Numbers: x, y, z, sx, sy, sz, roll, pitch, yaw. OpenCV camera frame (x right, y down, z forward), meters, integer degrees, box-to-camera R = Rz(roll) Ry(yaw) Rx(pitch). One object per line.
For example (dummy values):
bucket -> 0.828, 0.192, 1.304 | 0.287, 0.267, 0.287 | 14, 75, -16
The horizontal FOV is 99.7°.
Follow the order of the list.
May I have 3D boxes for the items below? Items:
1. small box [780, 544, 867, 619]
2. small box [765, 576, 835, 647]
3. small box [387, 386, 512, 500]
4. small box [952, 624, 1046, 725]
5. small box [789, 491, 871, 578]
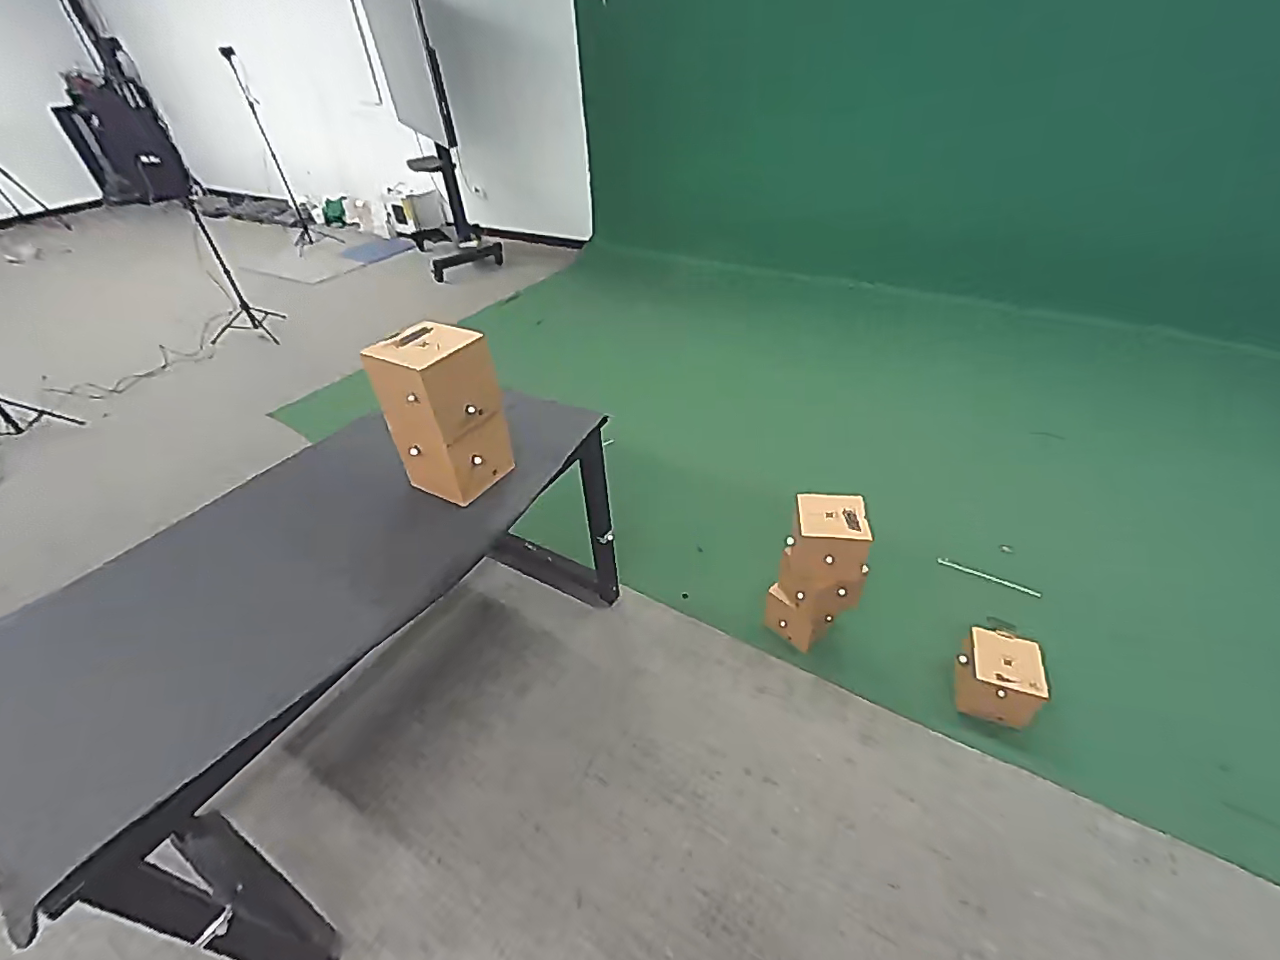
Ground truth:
small box -> 0.526, 0.278, 1.581 | 0.179, 0.176, 0.168 | -16, 43, -15
small box -> 0.509, 0.389, 1.702 | 0.179, 0.176, 0.168 | -32, 48, -30
small box -> -0.408, -0.079, 1.186 | 0.179, 0.176, 0.168 | 18, 45, 26
small box -> 0.980, 0.538, 1.495 | 0.168, 0.176, 0.179 | 13, 42, 18
small box -> 0.512, 0.150, 1.478 | 0.179, 0.176, 0.168 | 3, 42, 8
